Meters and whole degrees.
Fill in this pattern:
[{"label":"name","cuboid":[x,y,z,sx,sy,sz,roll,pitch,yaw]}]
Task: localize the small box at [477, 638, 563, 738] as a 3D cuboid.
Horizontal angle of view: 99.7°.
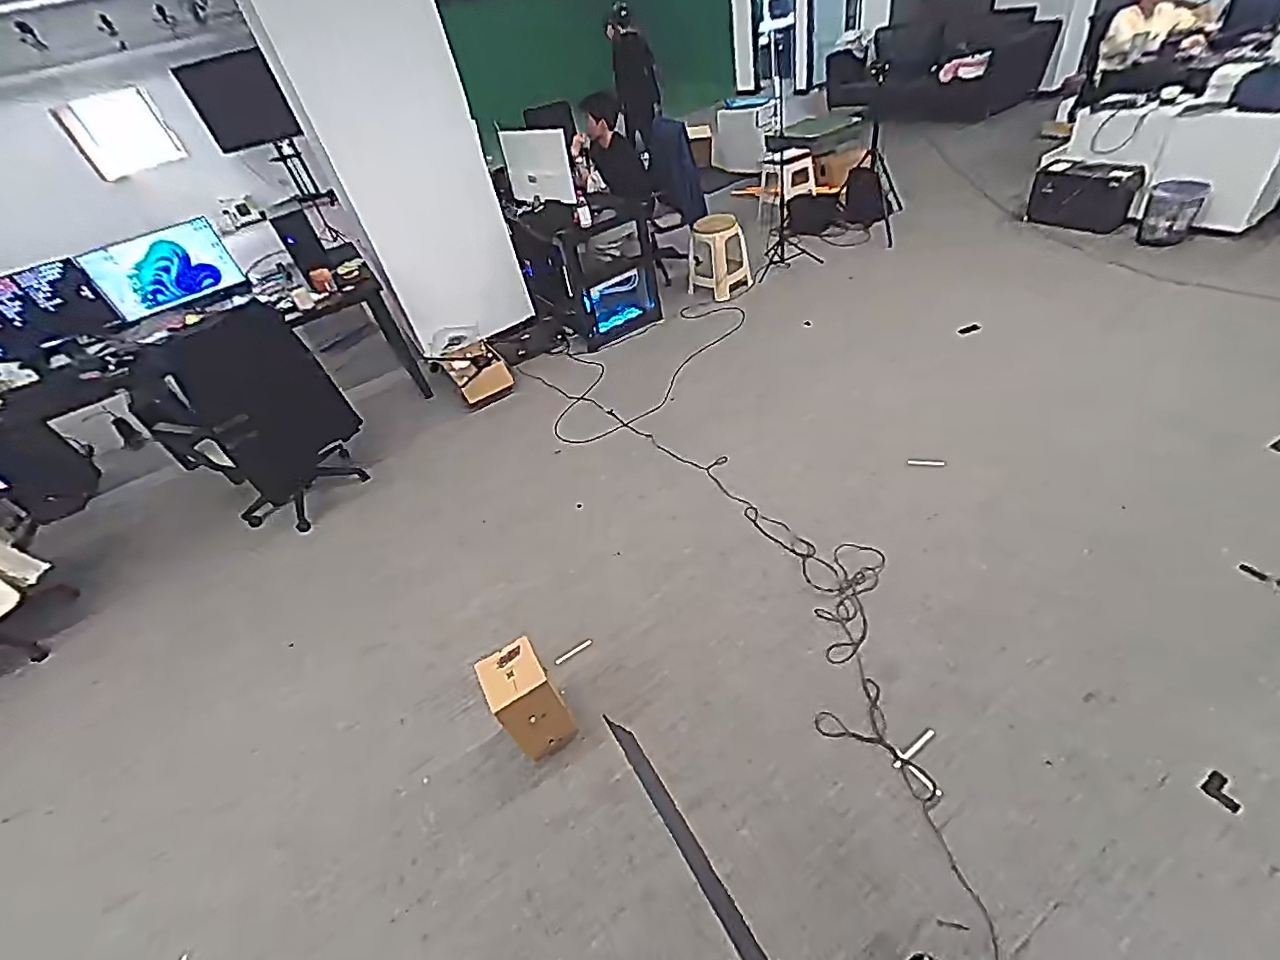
[{"label":"small box","cuboid":[-0.345,0.601,1.560,0.168,0.176,0.179,-28,43,-15]}]
